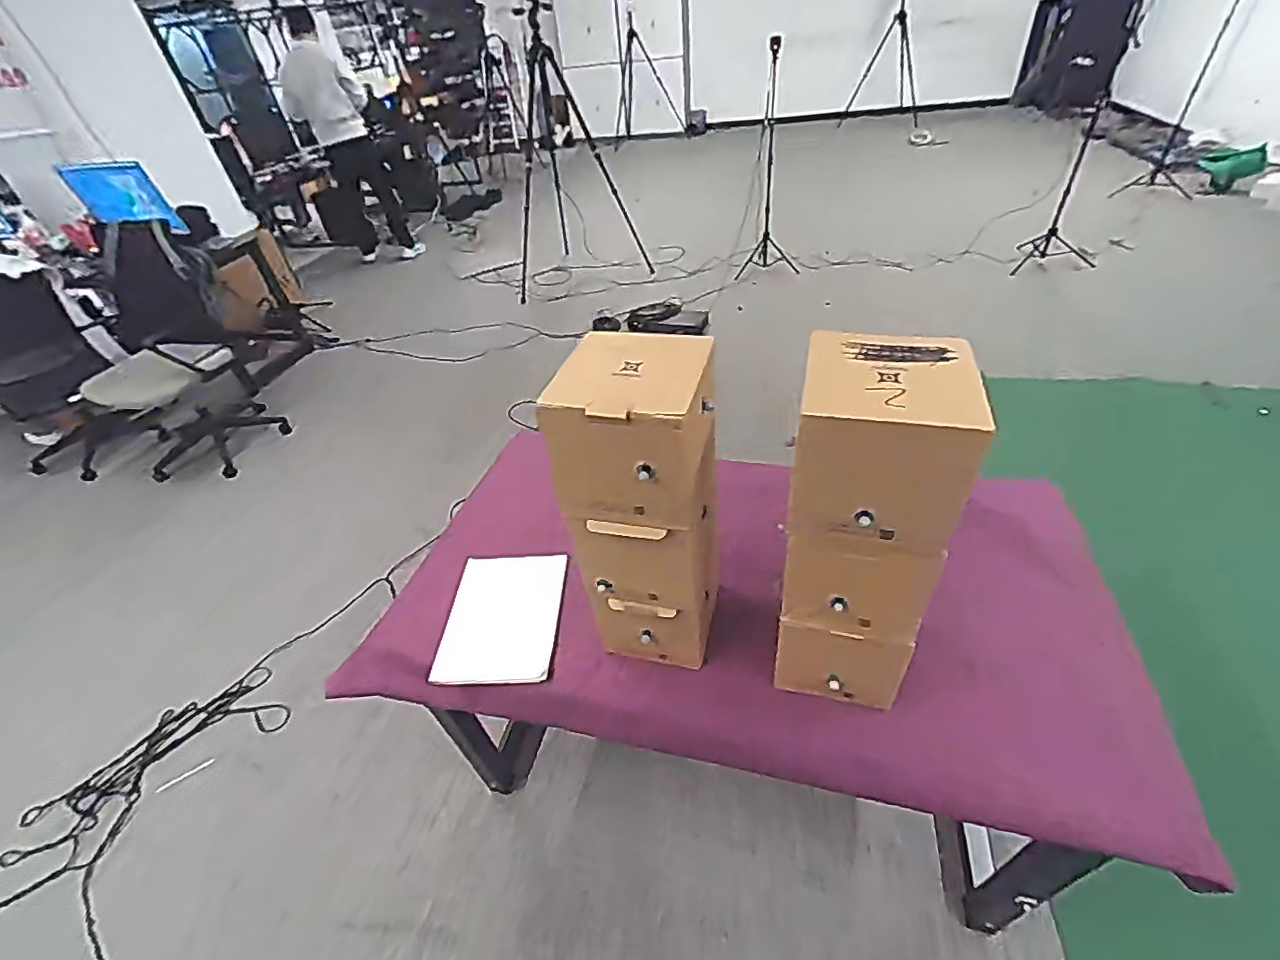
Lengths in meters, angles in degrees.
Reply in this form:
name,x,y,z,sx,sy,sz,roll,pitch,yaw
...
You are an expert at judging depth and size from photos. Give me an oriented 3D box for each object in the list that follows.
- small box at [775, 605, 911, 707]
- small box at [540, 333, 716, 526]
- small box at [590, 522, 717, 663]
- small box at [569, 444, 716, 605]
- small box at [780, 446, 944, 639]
name,x,y,z,sx,sy,sz,roll,pitch,yaw
small box,0.297,0.207,0.815,0.168,0.176,0.179,5,42,17
small box,0.000,-0.064,0.671,0.168,0.176,0.179,7,42,16
small box,0.034,0.176,0.893,0.168,0.176,0.179,7,43,15
small box,0.017,0.056,0.781,0.168,0.176,0.179,7,42,16
small box,0.281,0.079,0.715,0.168,0.176,0.179,7,42,16
